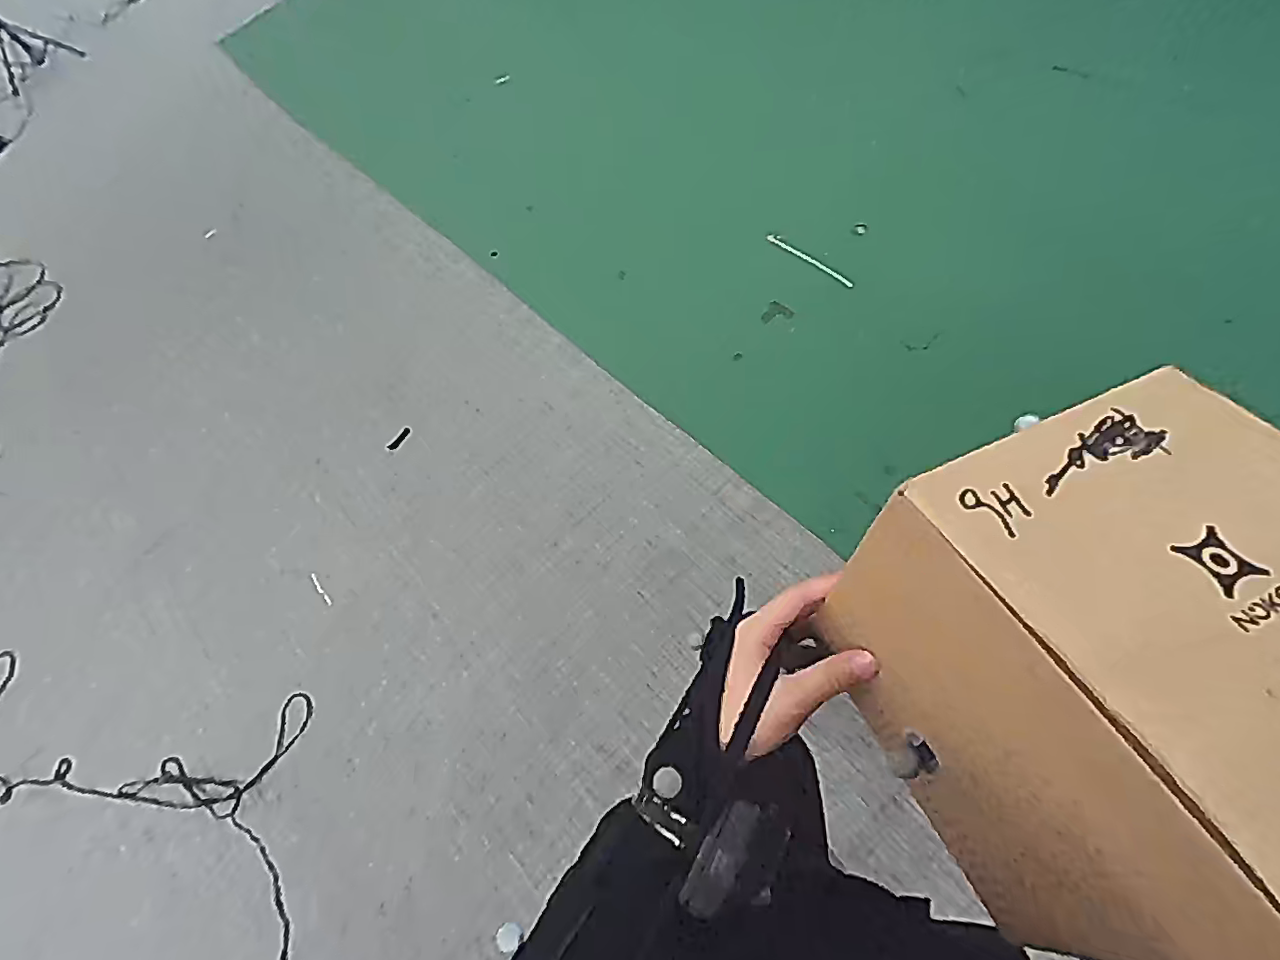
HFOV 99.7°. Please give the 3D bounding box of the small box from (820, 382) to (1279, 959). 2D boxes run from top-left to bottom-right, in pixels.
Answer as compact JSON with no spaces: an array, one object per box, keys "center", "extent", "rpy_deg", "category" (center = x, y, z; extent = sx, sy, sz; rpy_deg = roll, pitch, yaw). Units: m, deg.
[{"center":[0.218,0.089,0.263],"extent":[0.168,0.176,0.179],"rpy_deg":[-20,56,-12],"category":"small box"}]
